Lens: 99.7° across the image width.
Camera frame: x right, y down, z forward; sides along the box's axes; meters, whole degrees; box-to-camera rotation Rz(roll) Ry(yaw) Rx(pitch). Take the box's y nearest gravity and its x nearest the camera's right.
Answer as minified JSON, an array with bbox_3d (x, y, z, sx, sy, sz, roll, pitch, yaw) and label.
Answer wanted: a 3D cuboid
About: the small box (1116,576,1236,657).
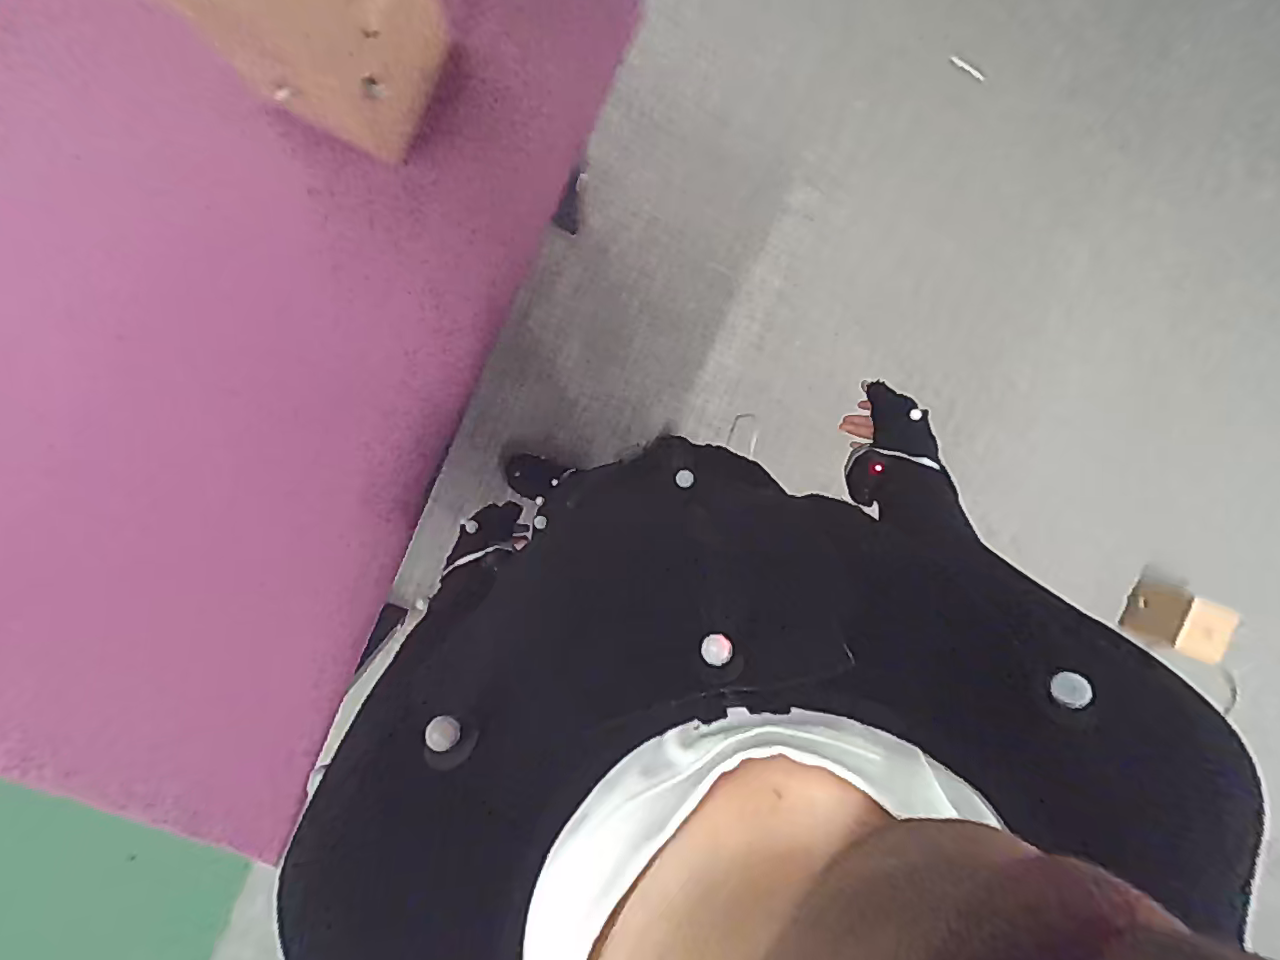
[{"bbox_3d":[1.650,0.414,1.673,0.179,0.176,0.168,21,93,-9],"label":"small box"}]

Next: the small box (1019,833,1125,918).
[{"bbox_3d":[1.382,1.286,1.743,0.179,0.176,0.168,22,97,-8],"label":"small box"}]

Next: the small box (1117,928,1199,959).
[{"bbox_3d":[1.419,1.338,1.420,0.179,0.176,0.168,31,92,-9],"label":"small box"}]

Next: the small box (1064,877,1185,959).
[{"bbox_3d":[1.404,1.312,1.580,0.179,0.176,0.168,26,93,-10],"label":"small box"}]
